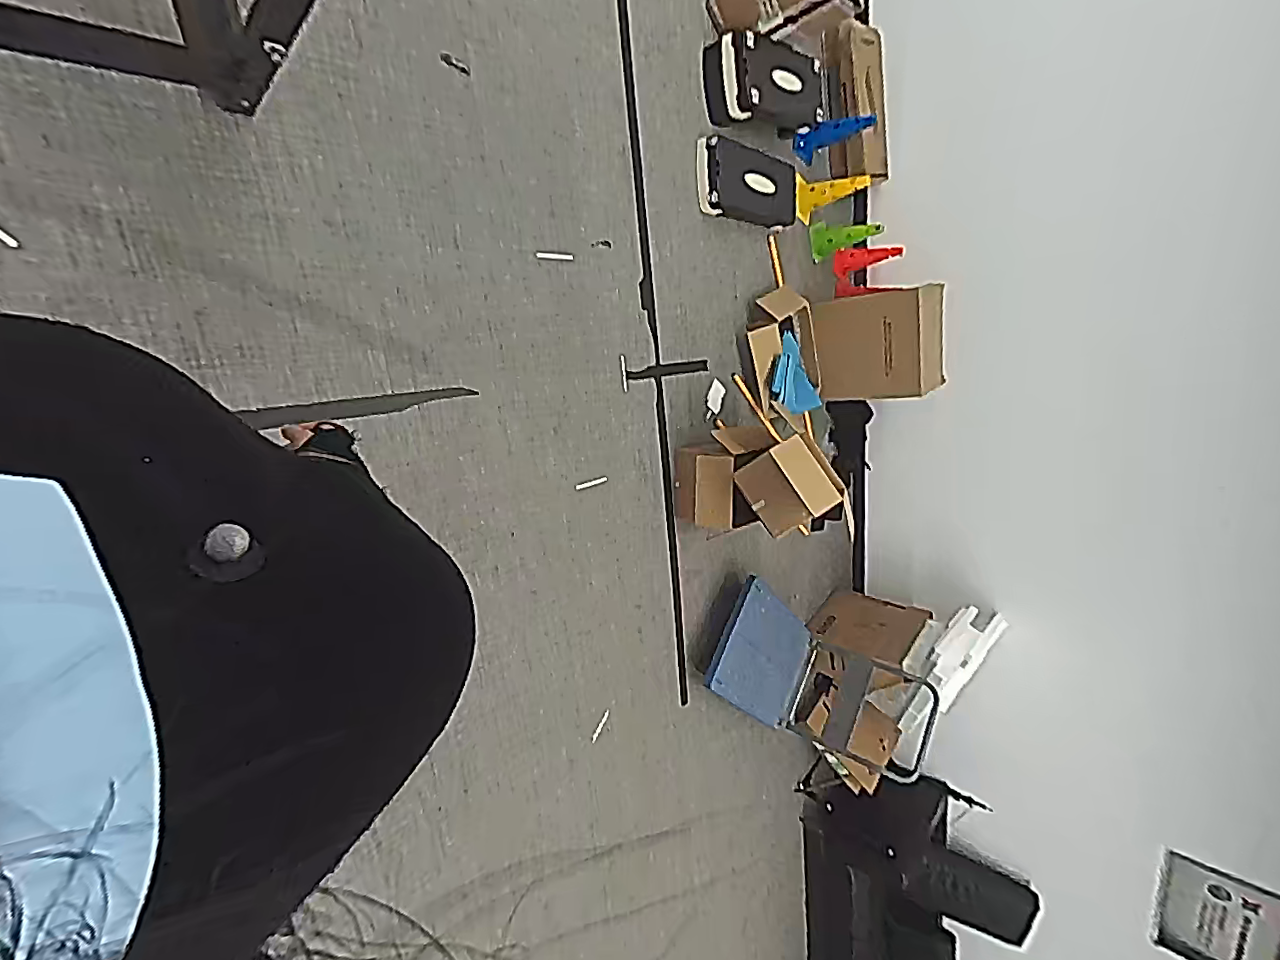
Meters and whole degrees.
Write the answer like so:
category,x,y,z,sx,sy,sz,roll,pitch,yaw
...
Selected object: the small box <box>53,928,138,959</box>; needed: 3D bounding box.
category,x,y,z,sx,sy,sz,roll,pitch,yaw
small box,-1.096,1.037,1.055,0.168,0.176,0.179,-22,112,-41
